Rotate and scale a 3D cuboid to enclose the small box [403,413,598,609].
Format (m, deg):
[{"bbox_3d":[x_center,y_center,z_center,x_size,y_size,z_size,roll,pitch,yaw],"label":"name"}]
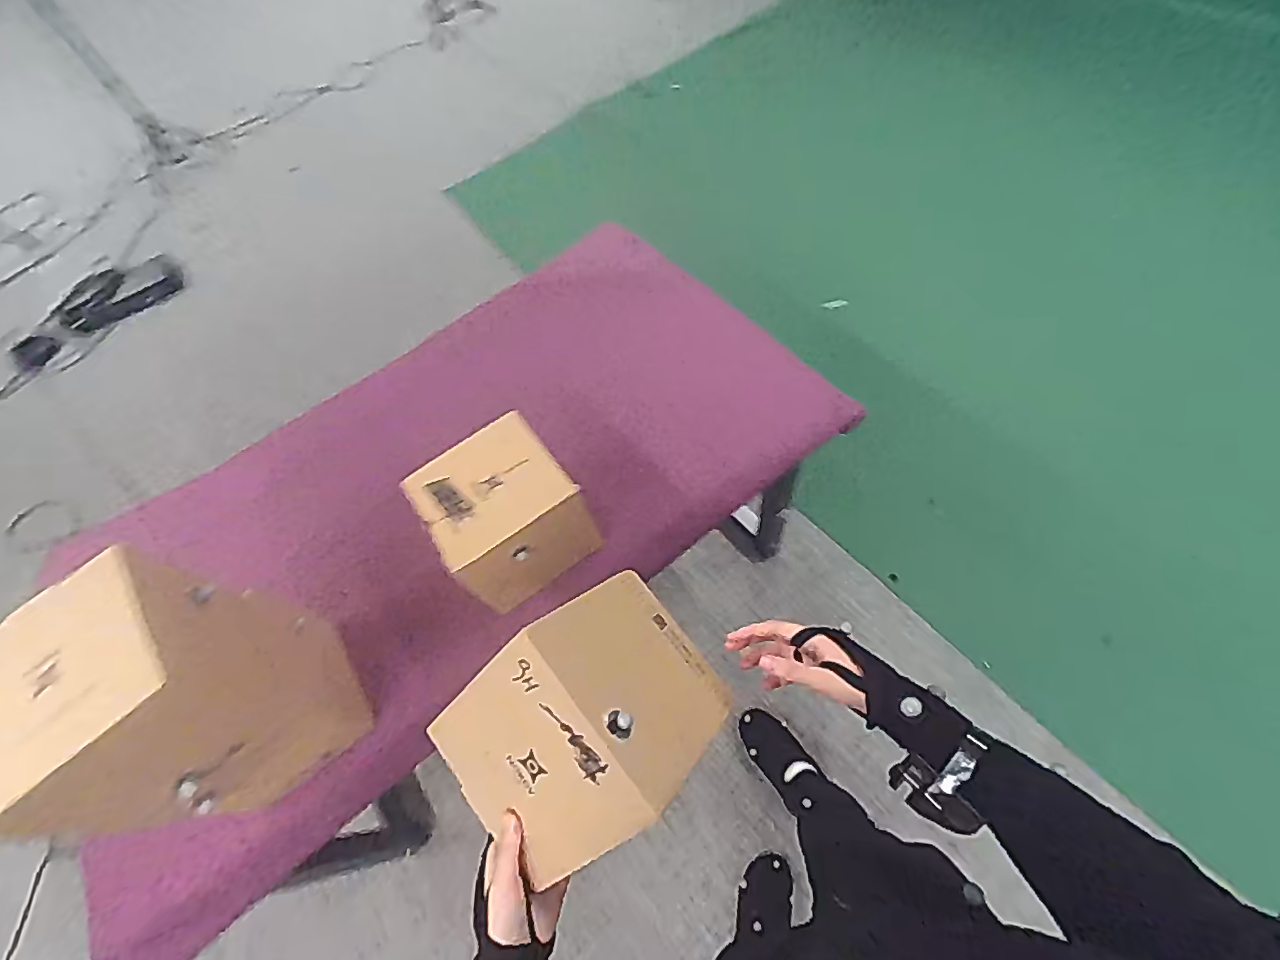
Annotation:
[{"bbox_3d":[-0.181,0.049,0.742,0.179,0.176,0.168,-35,62,-12],"label":"small box"}]

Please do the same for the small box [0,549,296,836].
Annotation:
[{"bbox_3d":[-0.478,0.204,0.511,0.168,0.176,0.179,-41,63,-14],"label":"small box"}]
